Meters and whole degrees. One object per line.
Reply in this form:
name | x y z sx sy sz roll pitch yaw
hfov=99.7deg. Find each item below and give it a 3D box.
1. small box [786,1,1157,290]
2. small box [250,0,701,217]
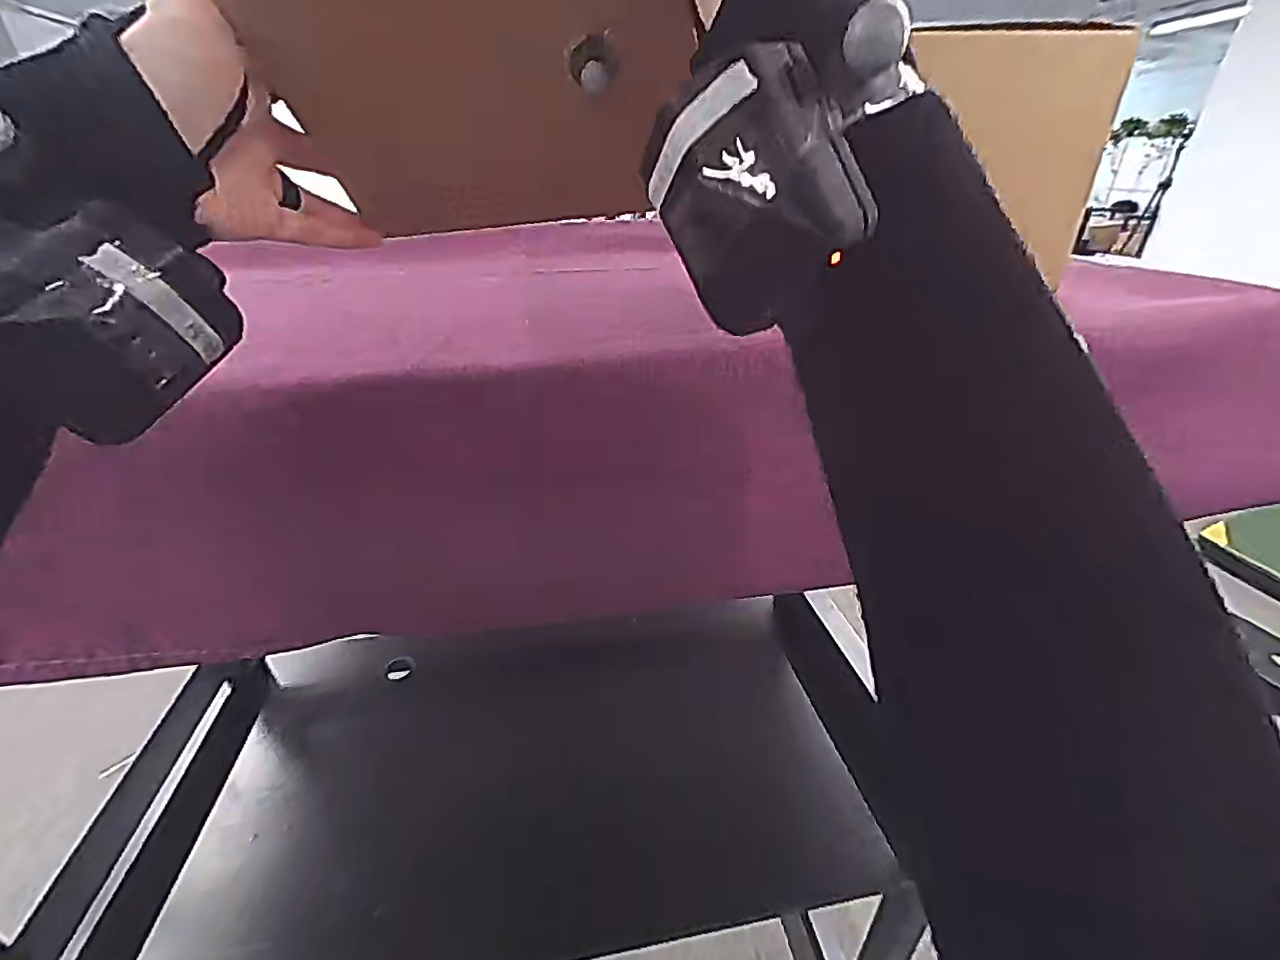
small box | 0.236 -0.258 0.441 0.179 0.176 0.168 -5 29 -6
small box | -0.068 -0.253 0.251 0.179 0.176 0.168 -8 74 -2
